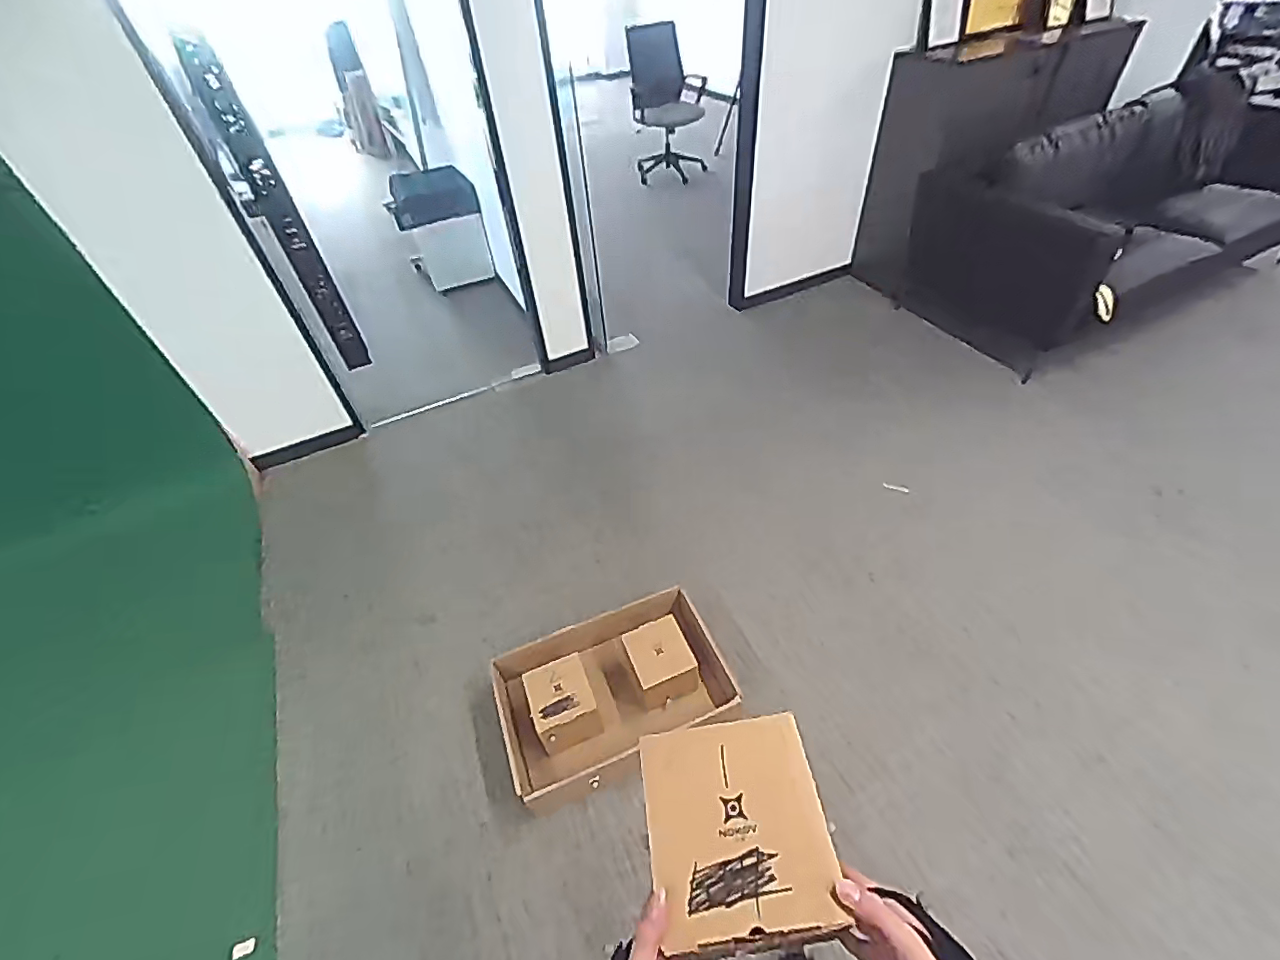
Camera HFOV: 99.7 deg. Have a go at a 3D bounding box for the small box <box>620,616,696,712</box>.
[{"bbox_3d":[0.051,0.529,1.554,0.168,0.176,0.179,-19,47,-12],"label":"small box"}]

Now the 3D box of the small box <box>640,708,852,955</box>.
[{"bbox_3d":[0.098,0.364,0.556,0.168,0.176,0.179,-9,44,0],"label":"small box"}]
